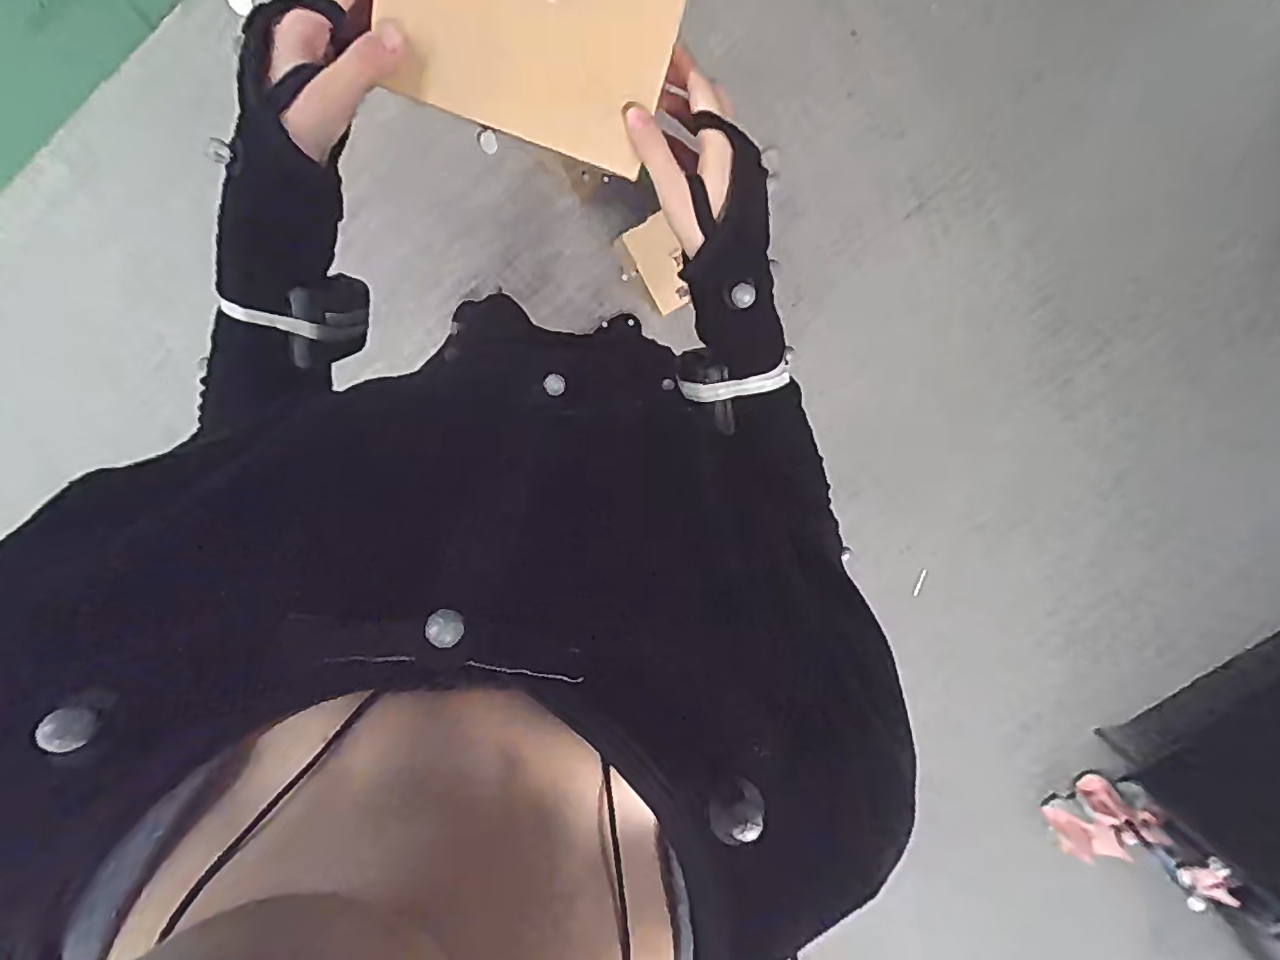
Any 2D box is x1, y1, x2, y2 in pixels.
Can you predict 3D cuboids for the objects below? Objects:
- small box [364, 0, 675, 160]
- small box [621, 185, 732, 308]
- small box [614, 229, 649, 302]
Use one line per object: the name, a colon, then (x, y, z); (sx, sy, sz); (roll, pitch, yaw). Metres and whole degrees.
small box: (-0.063, -0.333, 0.358); (0.168, 0.176, 0.179); (13, 117, -14)
small box: (0.068, -0.476, 1.134); (0.168, 0.176, 0.179); (-28, 107, 5)
small box: (0.049, -0.541, 1.285); (0.179, 0.176, 0.168); (-28, 107, 5)
